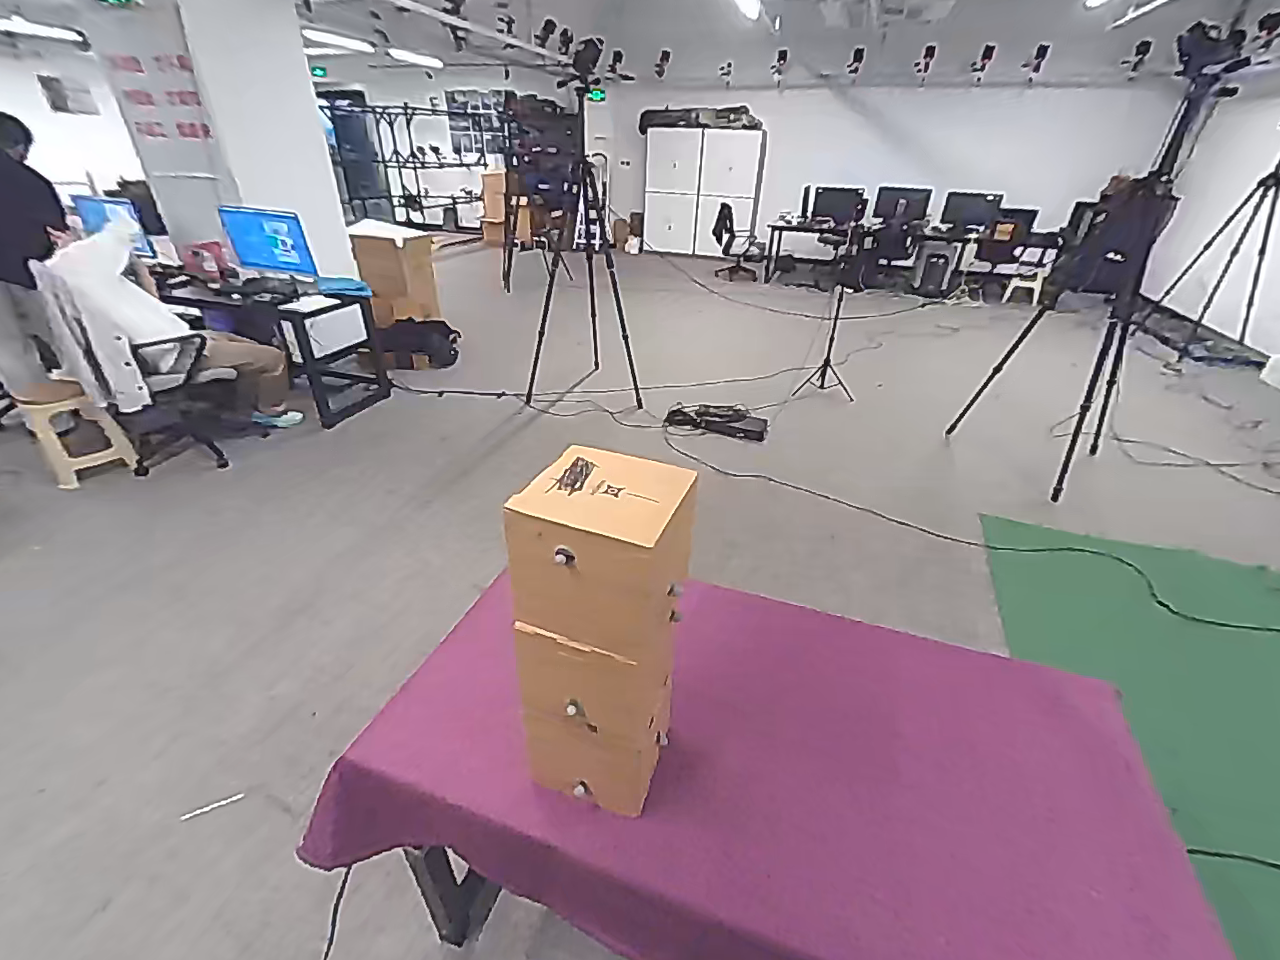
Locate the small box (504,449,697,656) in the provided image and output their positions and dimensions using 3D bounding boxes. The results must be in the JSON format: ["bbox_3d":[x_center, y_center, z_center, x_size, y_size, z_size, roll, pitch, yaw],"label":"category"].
[{"bbox_3d":[-0.043,0.085,0.661,0.179,0.176,0.168,14,33,17],"label":"small box"}]

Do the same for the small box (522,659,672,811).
[{"bbox_3d":[-0.061,0.368,0.828,0.179,0.176,0.168,12,32,14],"label":"small box"}]

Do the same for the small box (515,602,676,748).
[{"bbox_3d":[-0.054,0.225,0.747,0.168,0.176,0.179,11,33,16],"label":"small box"}]
